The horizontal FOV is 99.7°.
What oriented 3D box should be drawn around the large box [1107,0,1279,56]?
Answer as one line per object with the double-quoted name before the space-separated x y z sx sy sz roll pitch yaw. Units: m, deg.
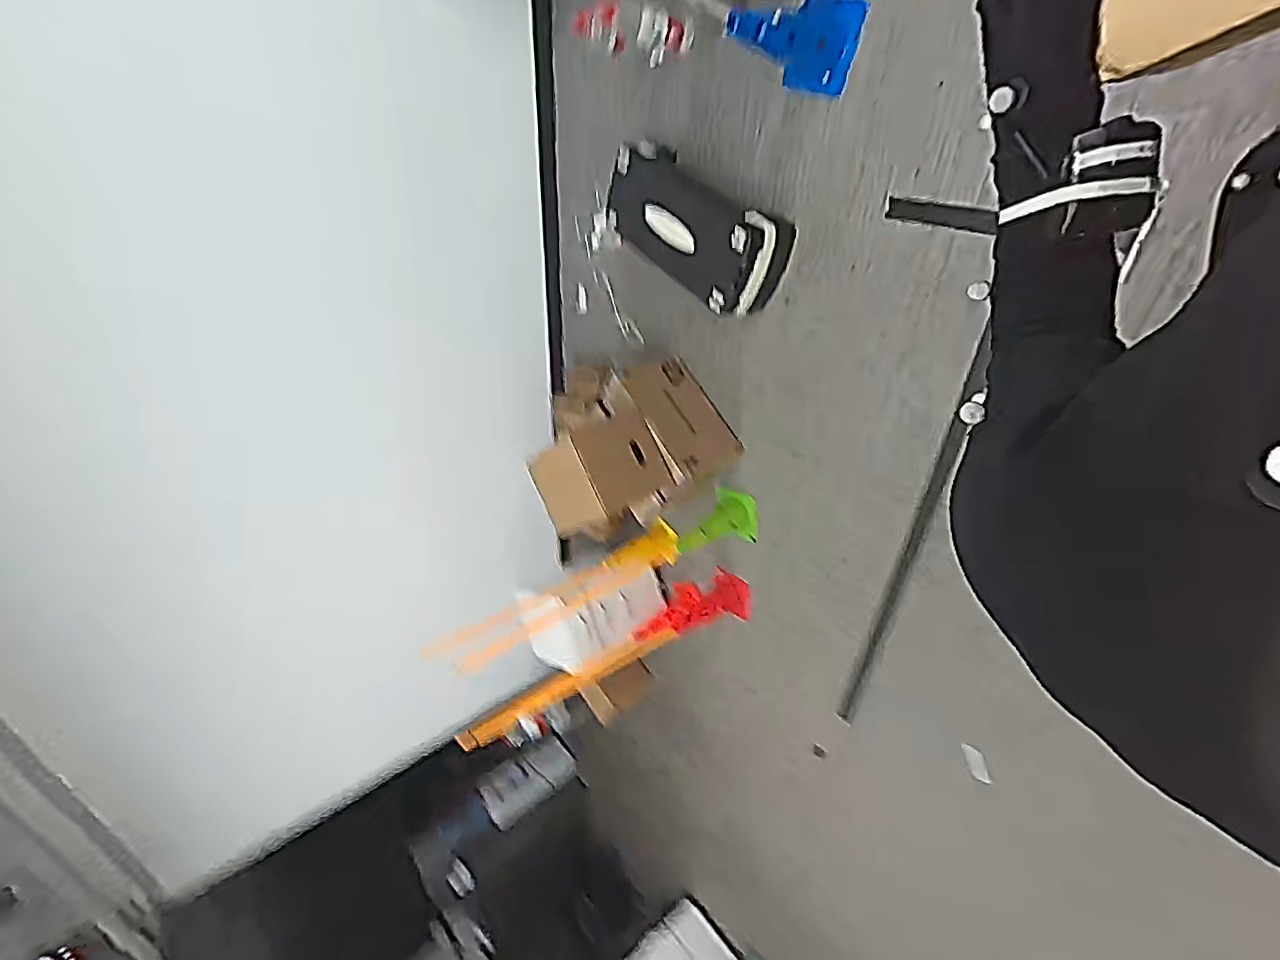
"large box" 0.486 -0.483 0.246 0.408 0.320 0.320 0 118 52
